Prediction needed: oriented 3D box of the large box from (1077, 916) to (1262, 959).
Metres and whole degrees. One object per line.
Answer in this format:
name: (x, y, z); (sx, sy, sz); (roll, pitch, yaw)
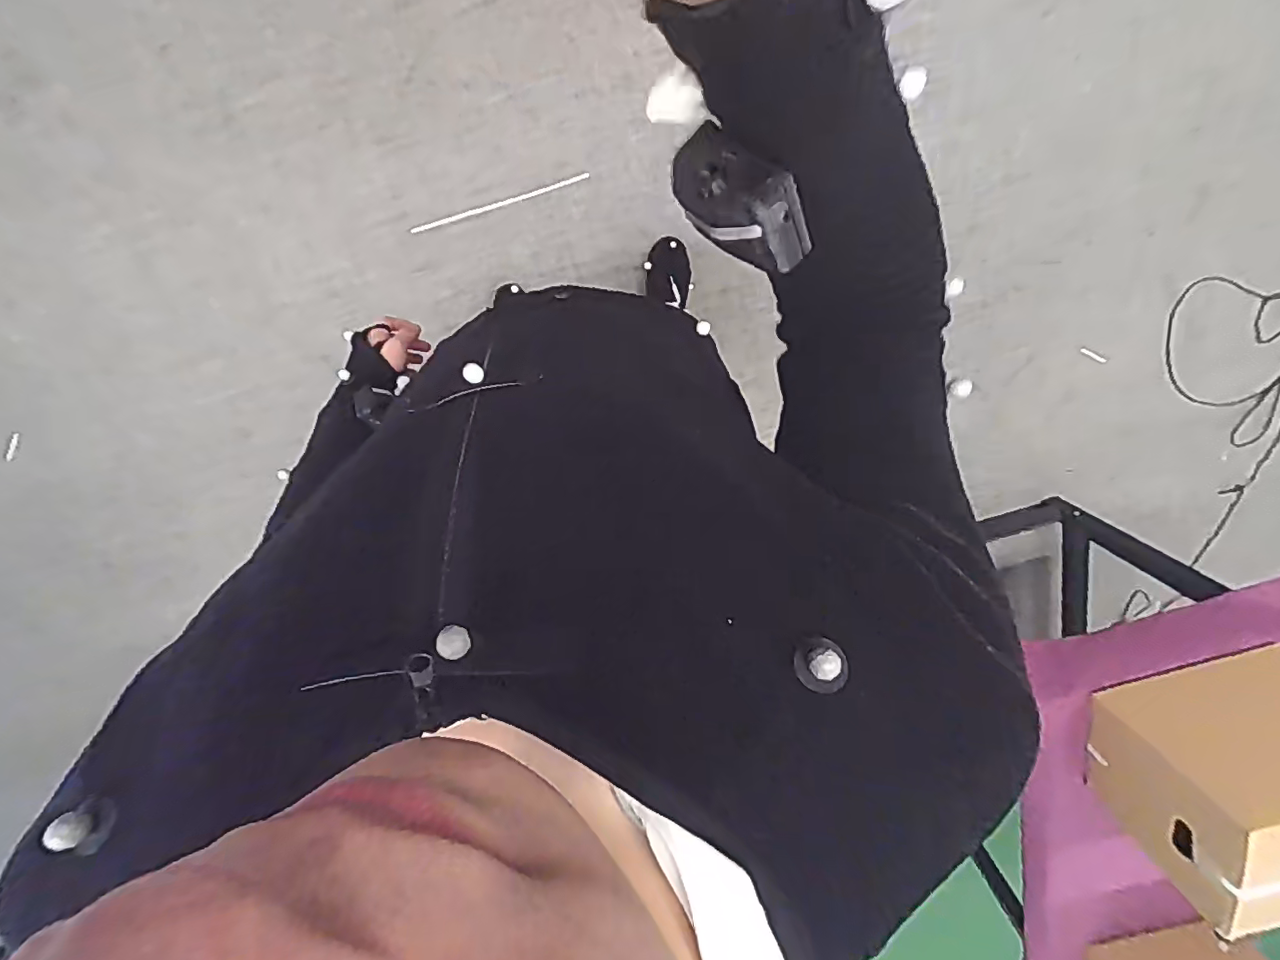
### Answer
large box: (1.472, 1.446, 1.428); (0.408, 0.320, 0.320); (-15, 111, 2)
